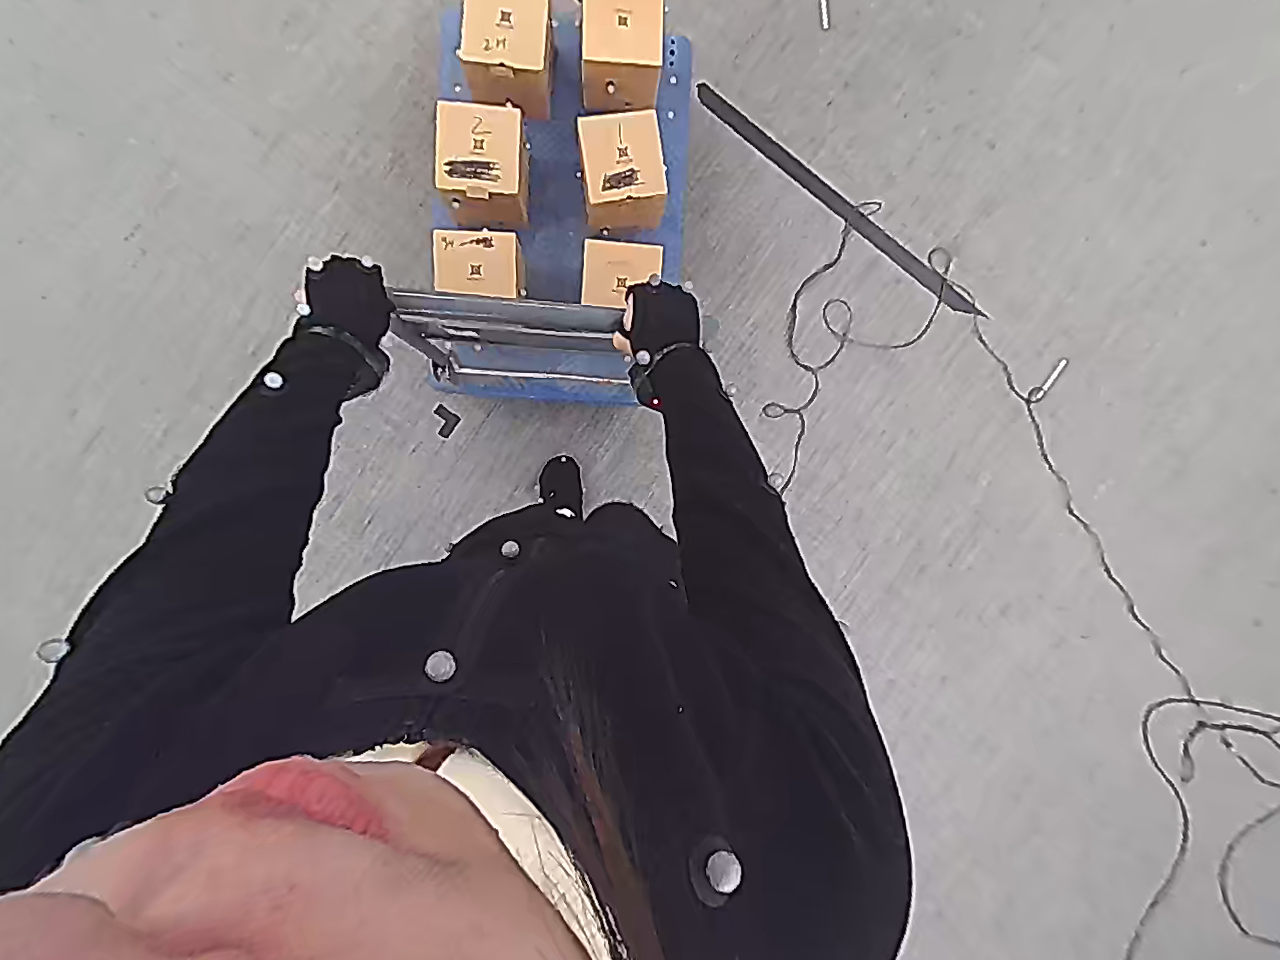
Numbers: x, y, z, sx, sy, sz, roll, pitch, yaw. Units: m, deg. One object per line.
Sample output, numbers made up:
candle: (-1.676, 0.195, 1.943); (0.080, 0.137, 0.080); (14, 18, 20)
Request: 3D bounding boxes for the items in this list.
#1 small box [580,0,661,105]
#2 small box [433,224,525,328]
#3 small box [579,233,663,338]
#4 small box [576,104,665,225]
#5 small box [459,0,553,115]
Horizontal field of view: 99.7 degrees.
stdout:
small box: (-0.045, -0.953, 1.175); (0.168, 0.176, 0.179); (0, 93, -5)
small box: (-0.342, -0.433, 1.177); (0.168, 0.176, 0.179); (0, 94, -6)
small box: (-0.046, -0.423, 1.207); (0.168, 0.176, 0.179); (4, 92, -6)
small box: (-0.044, -0.681, 1.191); (0.168, 0.176, 0.179); (-9, 93, -5)
small box: (-0.278, -0.928, 1.152); (0.168, 0.176, 0.179); (5, 94, -6)
